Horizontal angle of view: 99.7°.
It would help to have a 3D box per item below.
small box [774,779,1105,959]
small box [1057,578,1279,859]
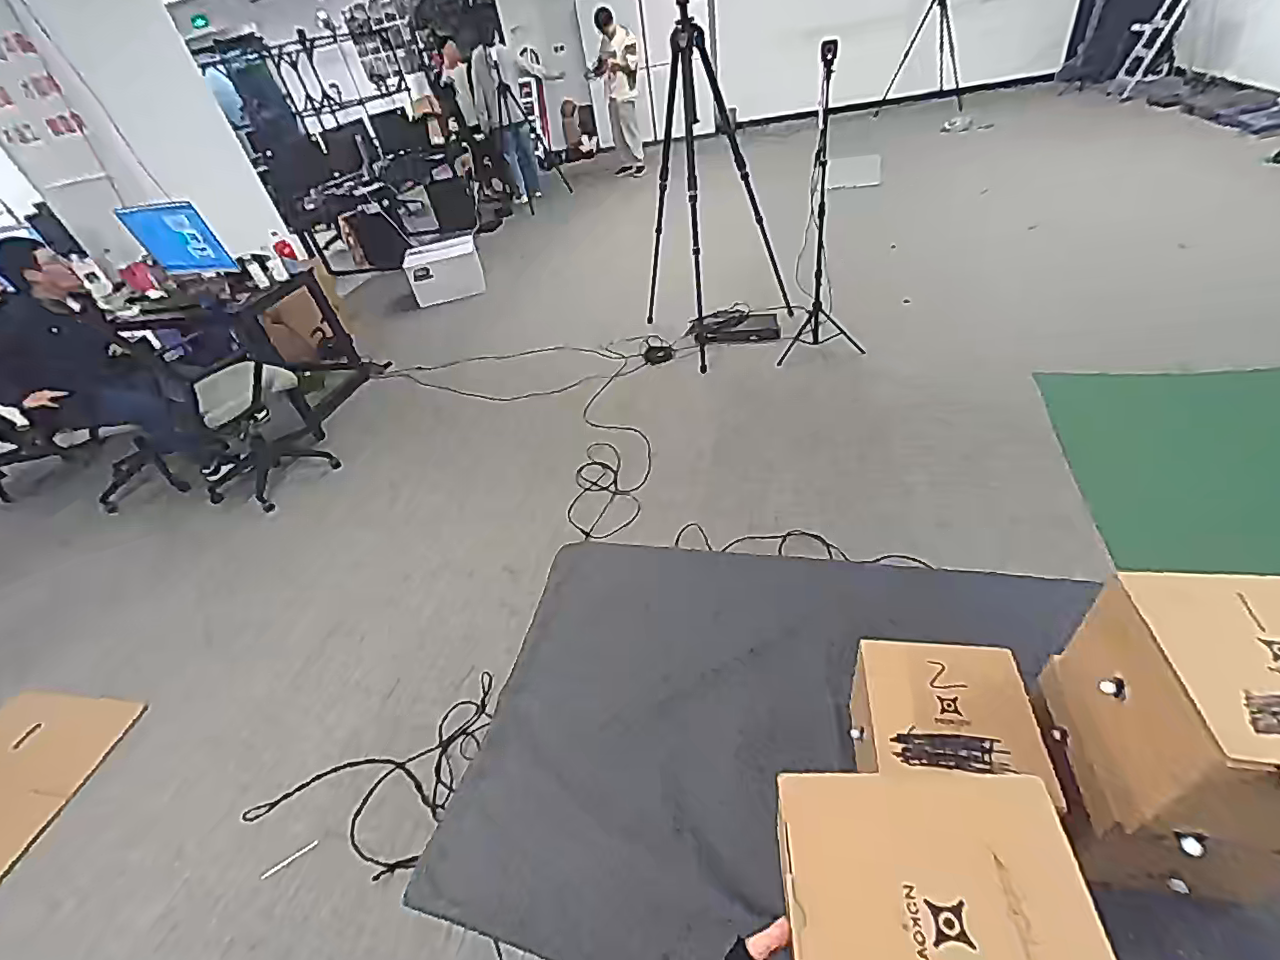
[{"bbox_3d":[0.194,0.326,0.383,0.179,0.176,0.168,-5,47,10],"label":"small box"},{"bbox_3d":[0.513,0.209,0.477,0.168,0.176,0.179,0,40,15],"label":"small box"}]
